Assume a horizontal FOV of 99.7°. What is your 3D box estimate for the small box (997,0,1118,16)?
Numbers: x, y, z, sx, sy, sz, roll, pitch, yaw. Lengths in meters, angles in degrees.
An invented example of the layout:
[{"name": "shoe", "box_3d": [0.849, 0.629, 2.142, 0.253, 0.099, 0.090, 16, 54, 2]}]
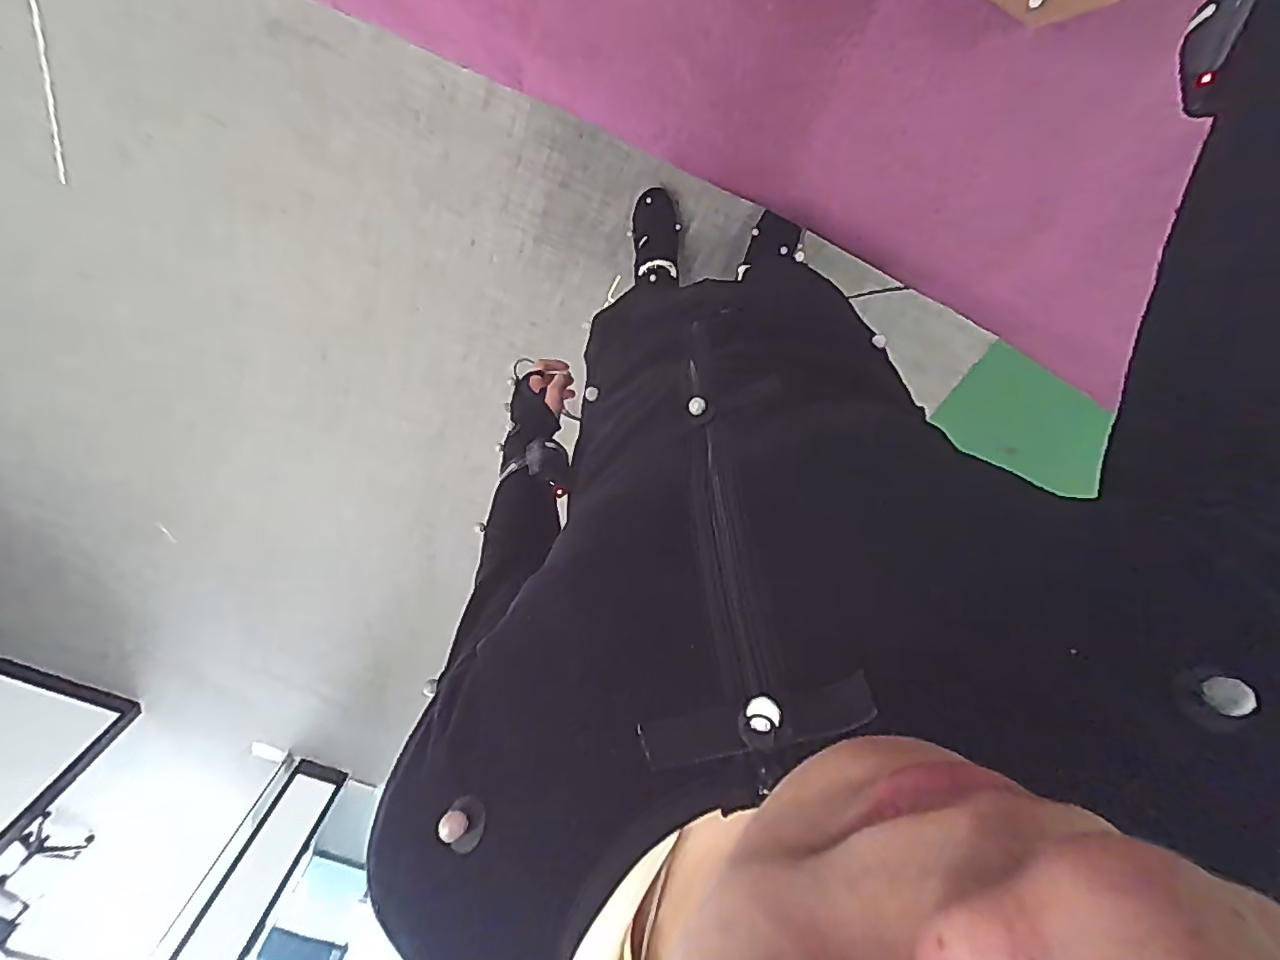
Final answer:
[{"name": "small box", "box_3d": [0.380, -0.542, 0.462, 0.179, 0.176, 0.168, 26, 121, -8]}]
